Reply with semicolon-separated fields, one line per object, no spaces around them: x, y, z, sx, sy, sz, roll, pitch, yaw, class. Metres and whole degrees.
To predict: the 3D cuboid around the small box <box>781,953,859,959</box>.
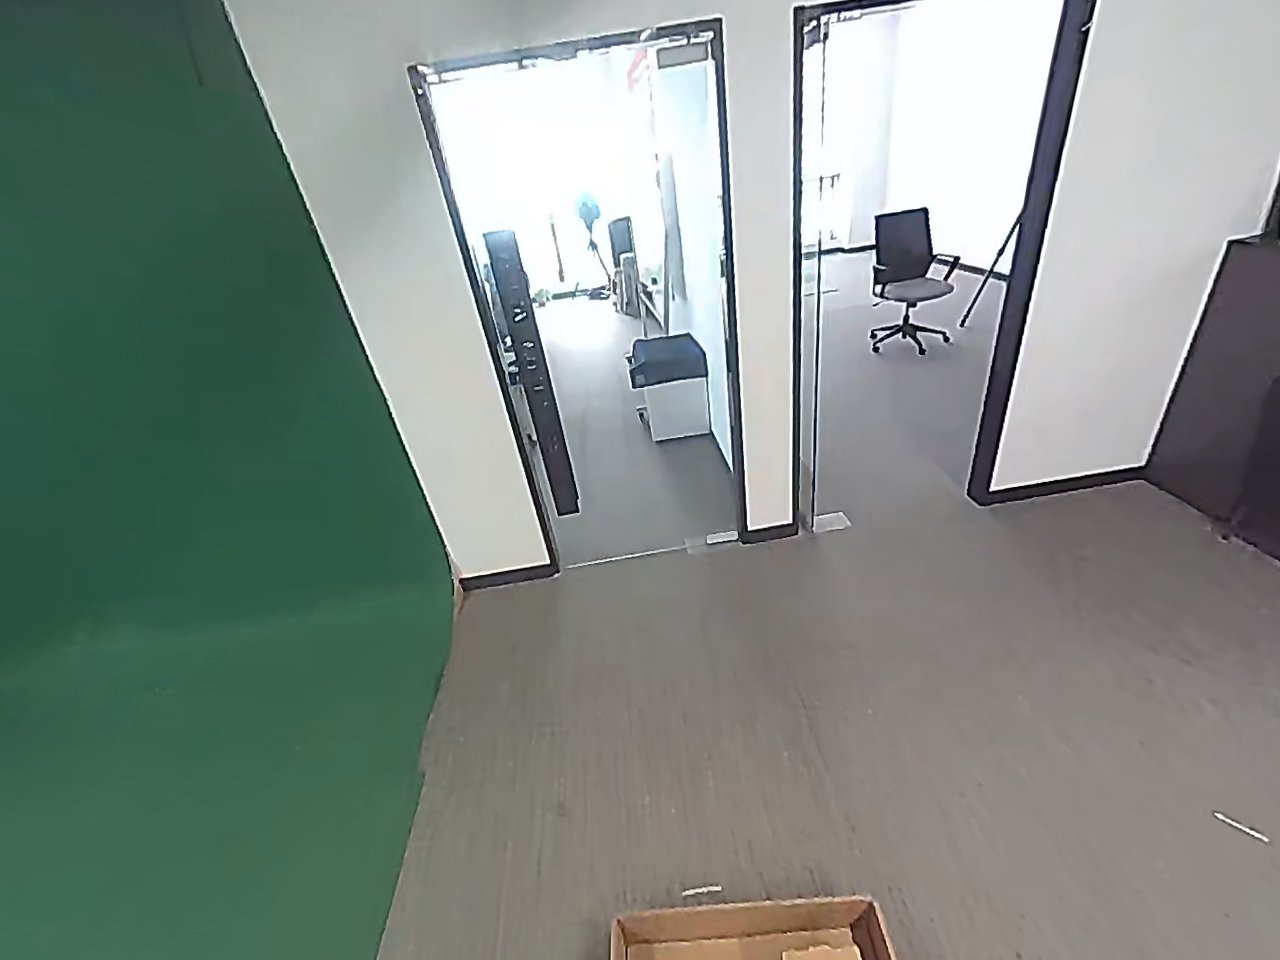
0.387;1.113;1.101;0.168;0.176;0.179;-8;30;4;small box
